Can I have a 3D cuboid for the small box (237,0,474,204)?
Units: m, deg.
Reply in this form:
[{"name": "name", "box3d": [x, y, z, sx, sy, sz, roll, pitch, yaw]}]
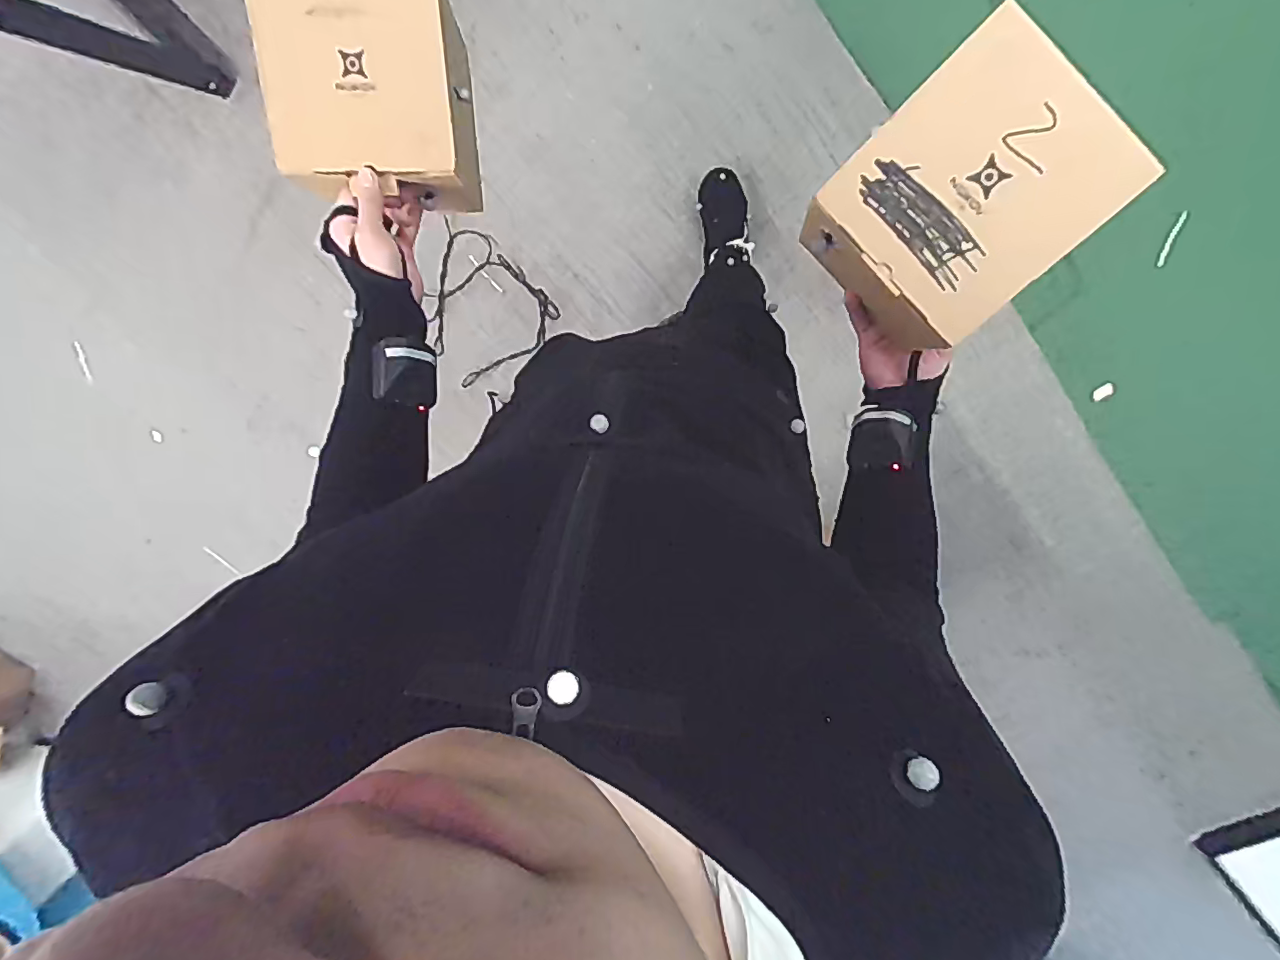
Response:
[{"name": "small box", "box3d": [-0.277, -0.399, 0.565, 0.168, 0.176, 0.179, -4, 104, -7]}]
